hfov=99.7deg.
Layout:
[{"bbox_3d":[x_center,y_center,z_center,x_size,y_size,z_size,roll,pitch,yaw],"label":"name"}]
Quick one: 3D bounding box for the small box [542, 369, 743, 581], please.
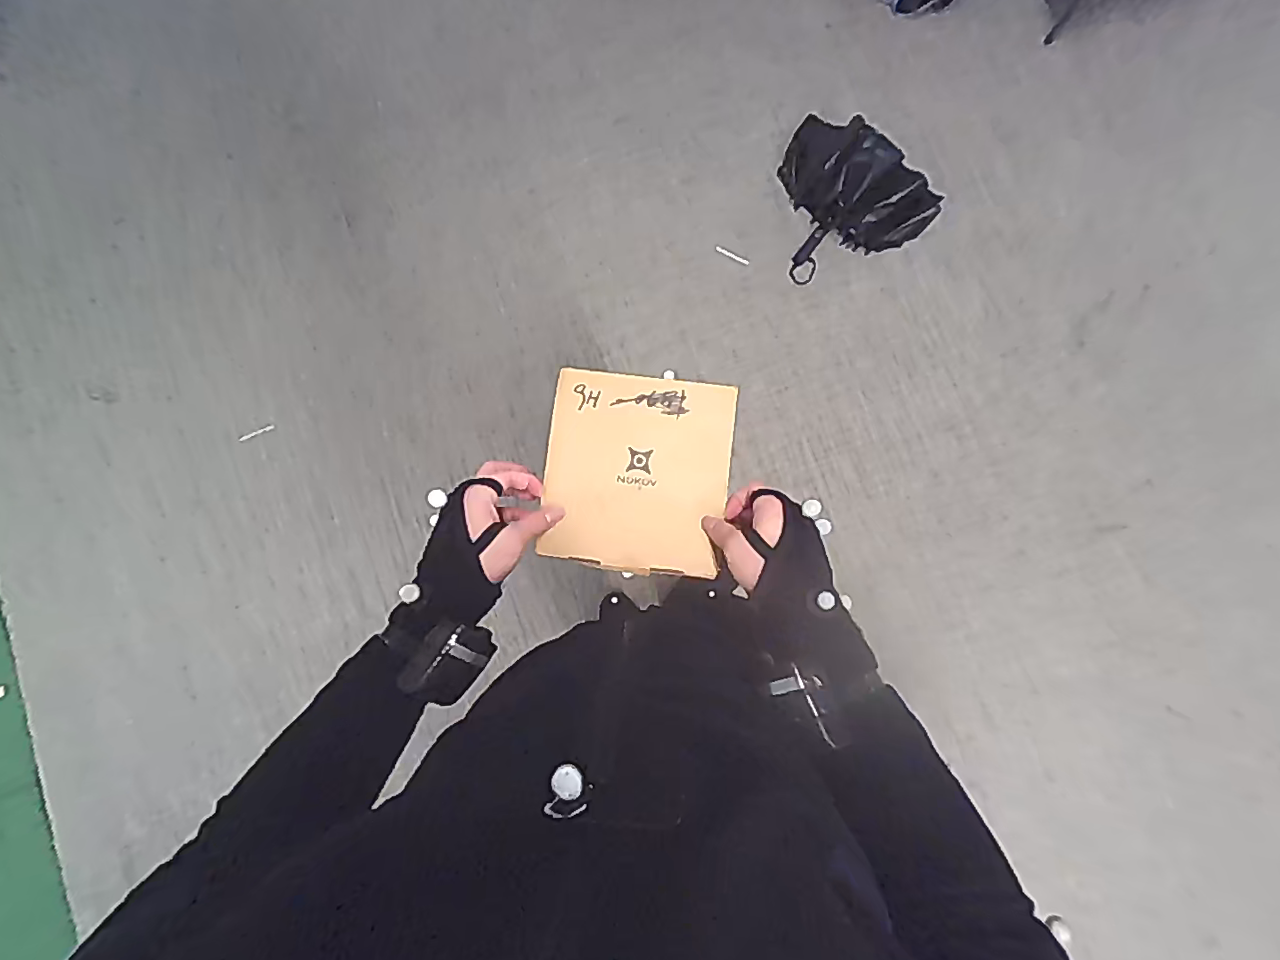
[{"bbox_3d":[0.005,0.000,0.562,0.168,0.176,0.179,7,86,1],"label":"small box"}]
